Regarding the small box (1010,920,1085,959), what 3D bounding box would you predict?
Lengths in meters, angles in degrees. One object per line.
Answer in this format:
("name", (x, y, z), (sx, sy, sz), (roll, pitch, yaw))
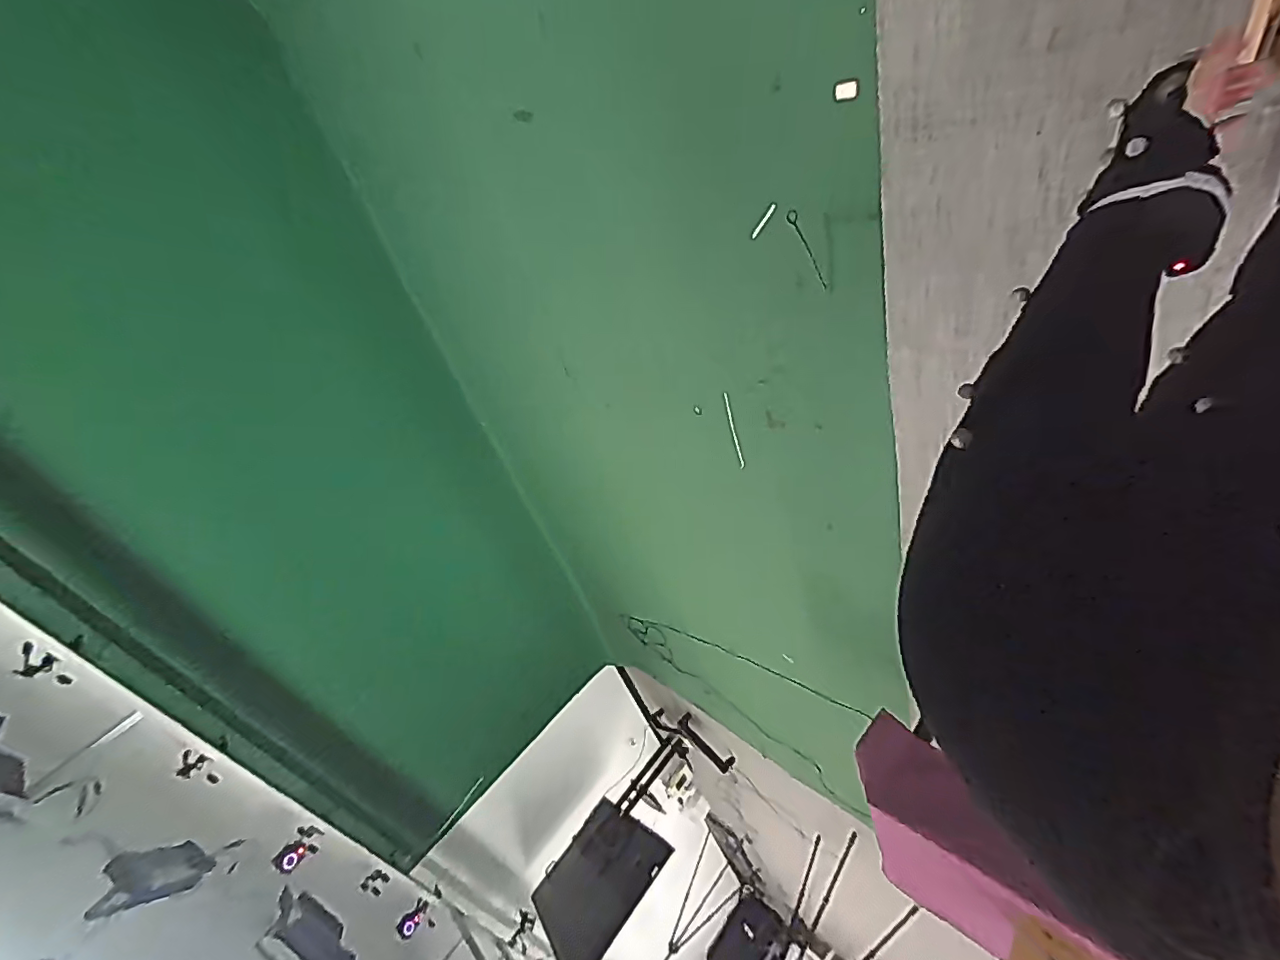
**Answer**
("small box", (1.040, 1.274, 1.370), (0.168, 0.176, 0.179), (18, 140, 46))
